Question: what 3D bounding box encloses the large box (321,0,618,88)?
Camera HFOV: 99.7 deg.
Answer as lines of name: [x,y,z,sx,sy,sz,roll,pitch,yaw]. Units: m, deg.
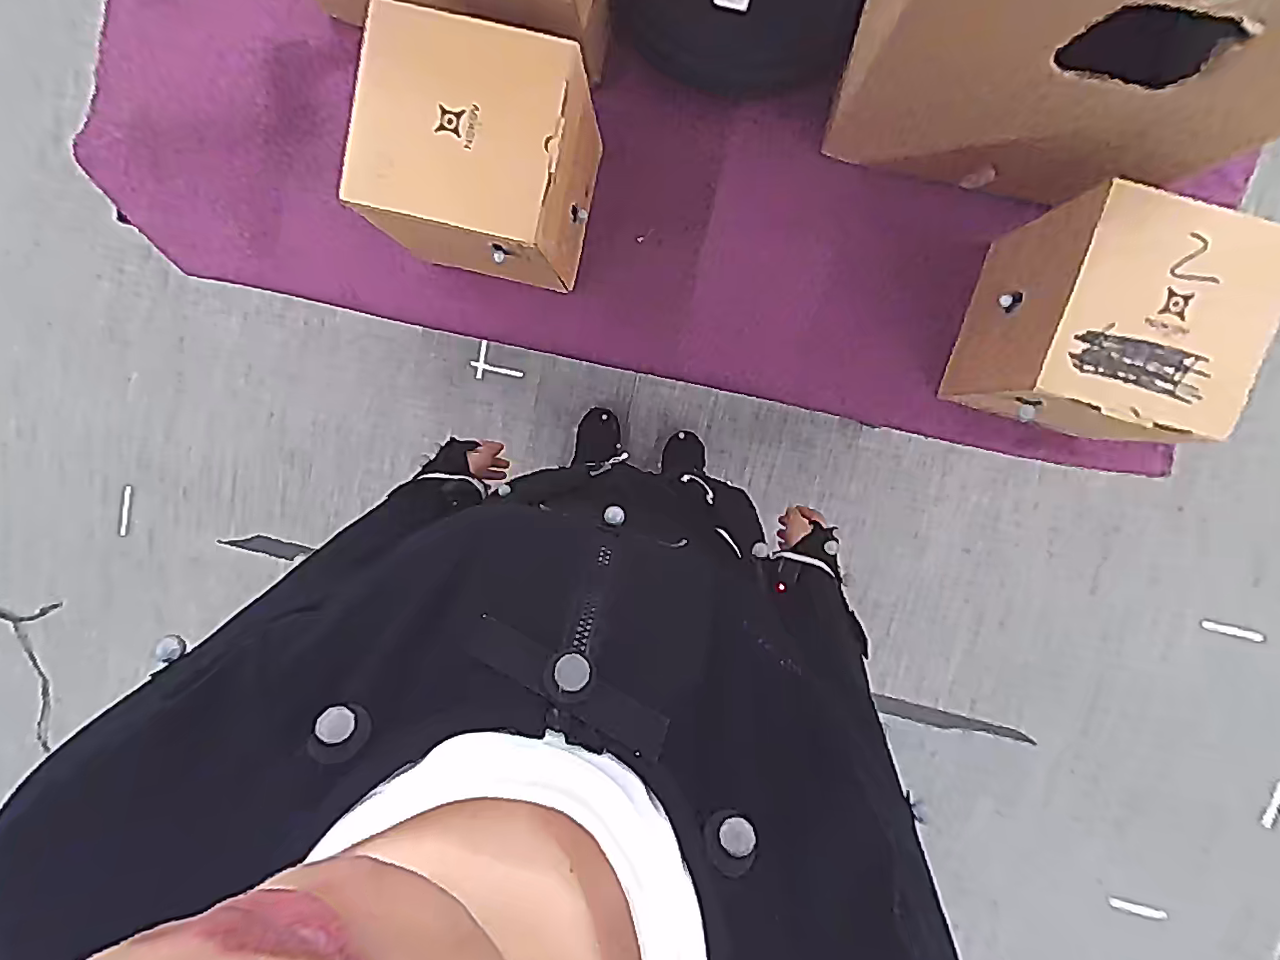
large box: [-0.150,-0.636,0.425,0.320,0.320,0.408,15,100,1]
